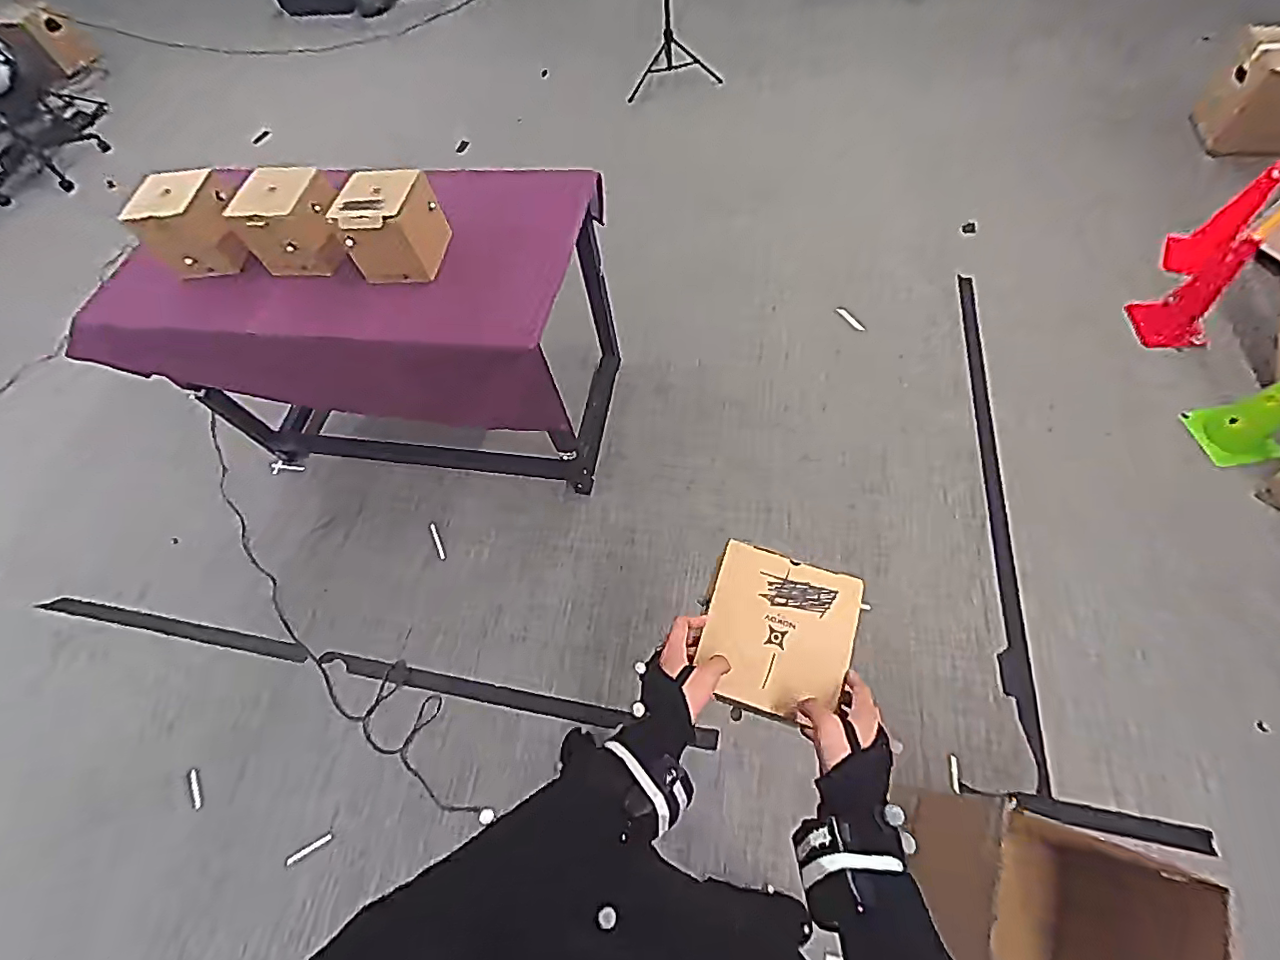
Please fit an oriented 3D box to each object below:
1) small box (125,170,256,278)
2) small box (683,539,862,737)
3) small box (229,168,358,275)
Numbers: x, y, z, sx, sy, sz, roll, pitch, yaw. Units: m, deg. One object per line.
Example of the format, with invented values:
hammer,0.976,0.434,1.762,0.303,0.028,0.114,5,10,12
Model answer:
small box,-1.079,-0.626,1.328,0.168,0.176,0.179,-2,62,6
small box,0.154,0.199,0.676,0.168,0.176,0.179,17,69,8
small box,-0.812,-0.612,1.291,0.168,0.176,0.179,4,62,8
